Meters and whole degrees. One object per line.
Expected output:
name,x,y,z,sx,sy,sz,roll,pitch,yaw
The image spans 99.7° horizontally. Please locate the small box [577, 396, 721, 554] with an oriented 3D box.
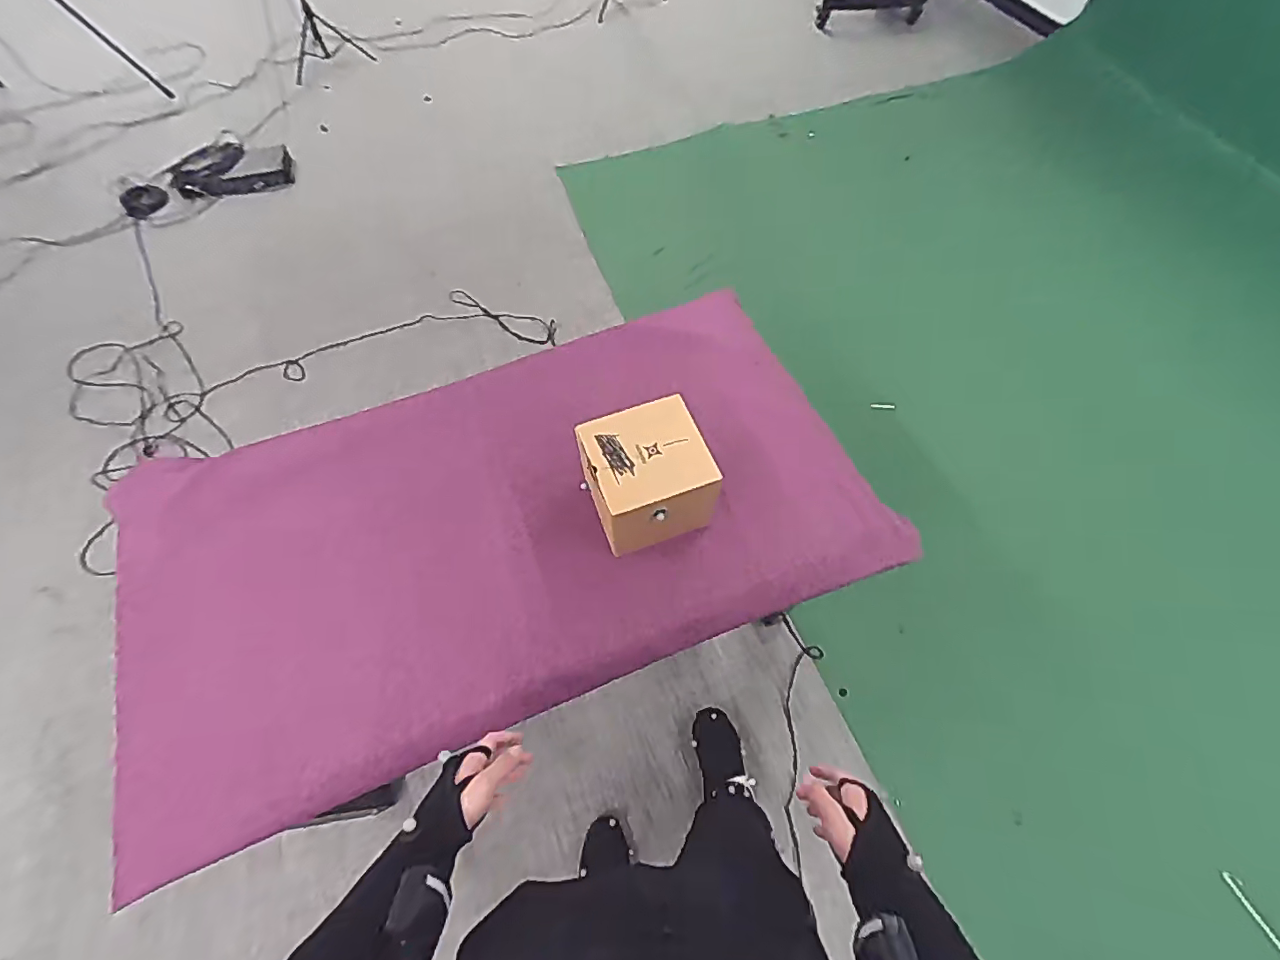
small box,0.012,-0.001,0.873,0.179,0.176,0.168,-18,64,-10
